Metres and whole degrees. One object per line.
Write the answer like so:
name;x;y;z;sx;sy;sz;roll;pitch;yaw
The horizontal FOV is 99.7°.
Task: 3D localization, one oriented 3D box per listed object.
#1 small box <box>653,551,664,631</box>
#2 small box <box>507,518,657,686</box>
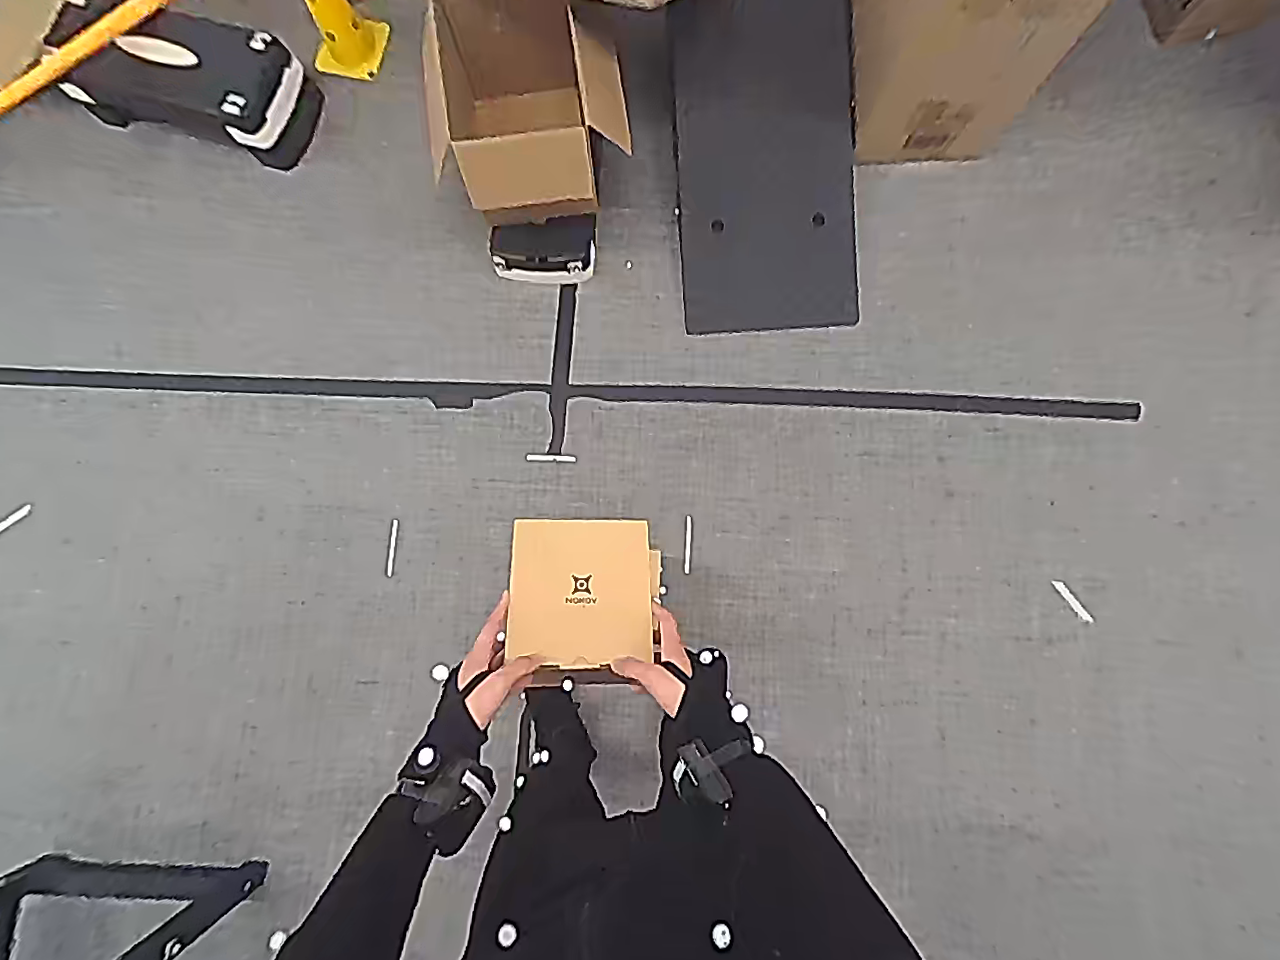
small box;-0.039;0.237;1.190;0.179;0.176;0.168;3;81;1
small box;-0.074;0.162;0.693;0.168;0.176;0.179;1;64;-7
